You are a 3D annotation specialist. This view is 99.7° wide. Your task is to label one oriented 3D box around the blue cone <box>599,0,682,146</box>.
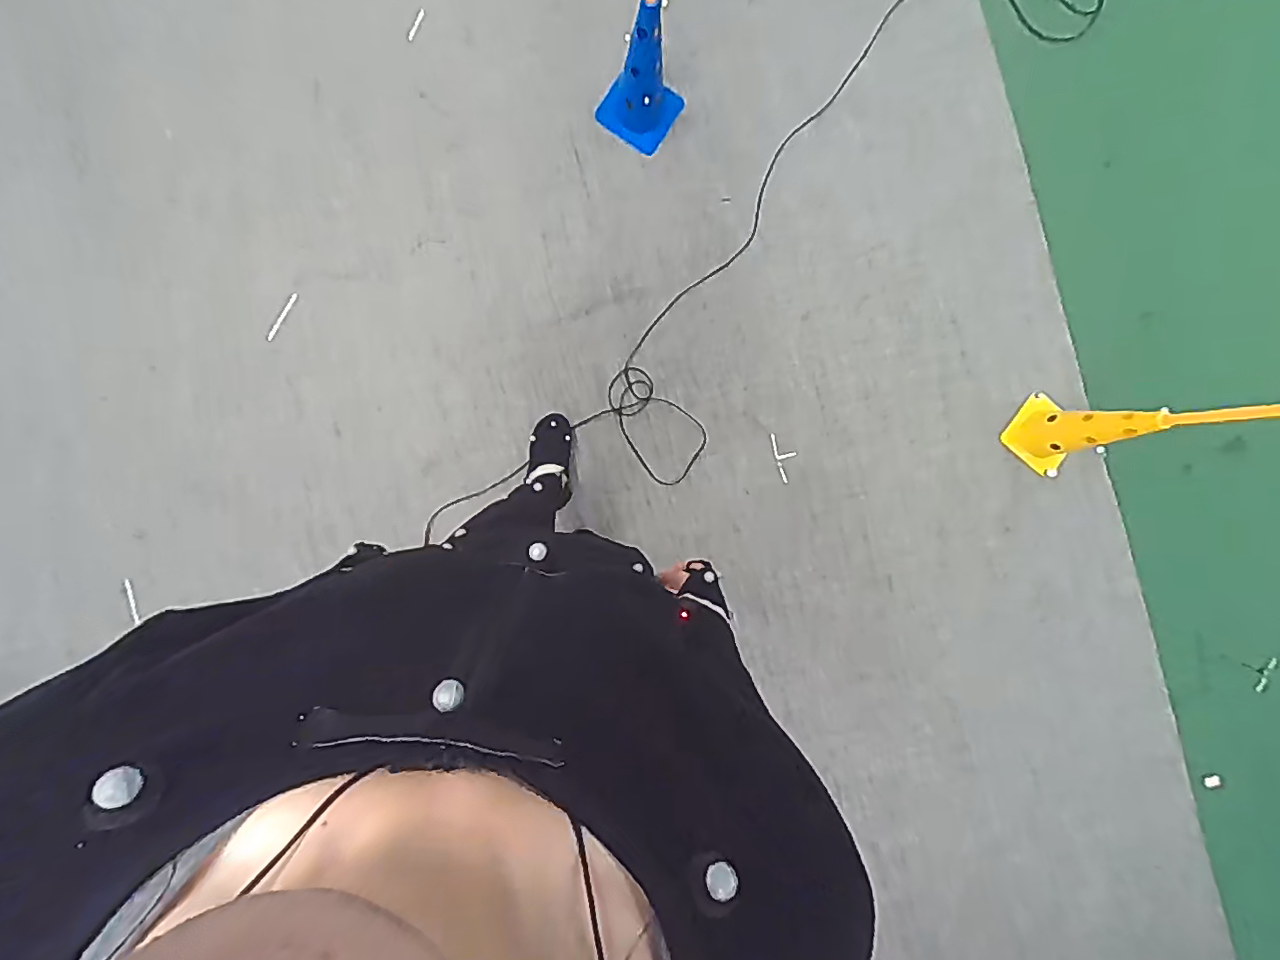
[{"bbox_3d":[0.008,-1.047,1.346,0.193,0.380,0.192,30,88,-2],"label":"blue cone"}]
